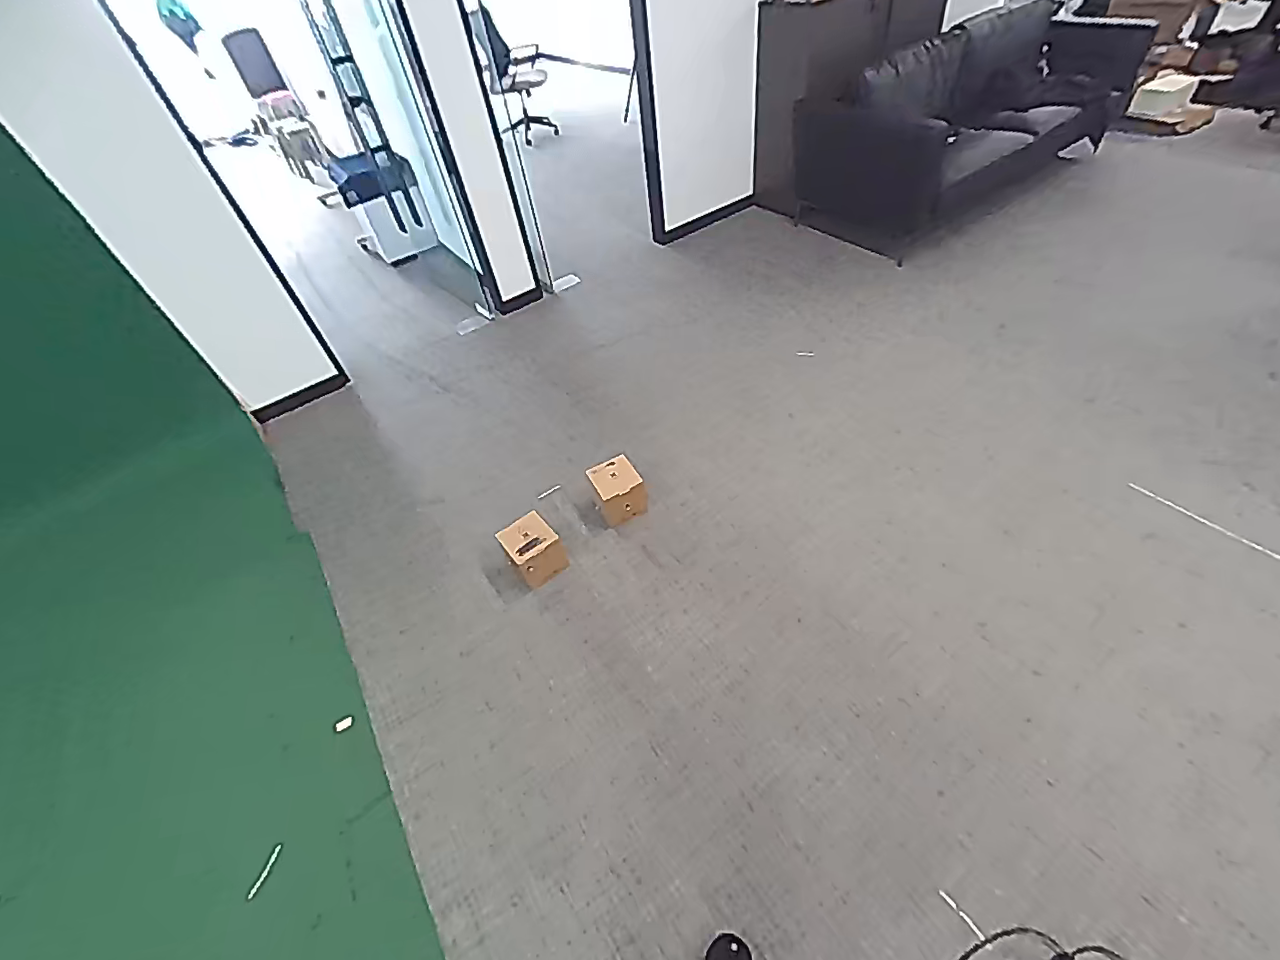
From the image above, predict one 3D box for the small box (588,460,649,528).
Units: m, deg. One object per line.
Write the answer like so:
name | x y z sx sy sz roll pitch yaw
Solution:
small box | -0.077 0.061 2.058 0.168 0.176 0.179 -25 49 -14
